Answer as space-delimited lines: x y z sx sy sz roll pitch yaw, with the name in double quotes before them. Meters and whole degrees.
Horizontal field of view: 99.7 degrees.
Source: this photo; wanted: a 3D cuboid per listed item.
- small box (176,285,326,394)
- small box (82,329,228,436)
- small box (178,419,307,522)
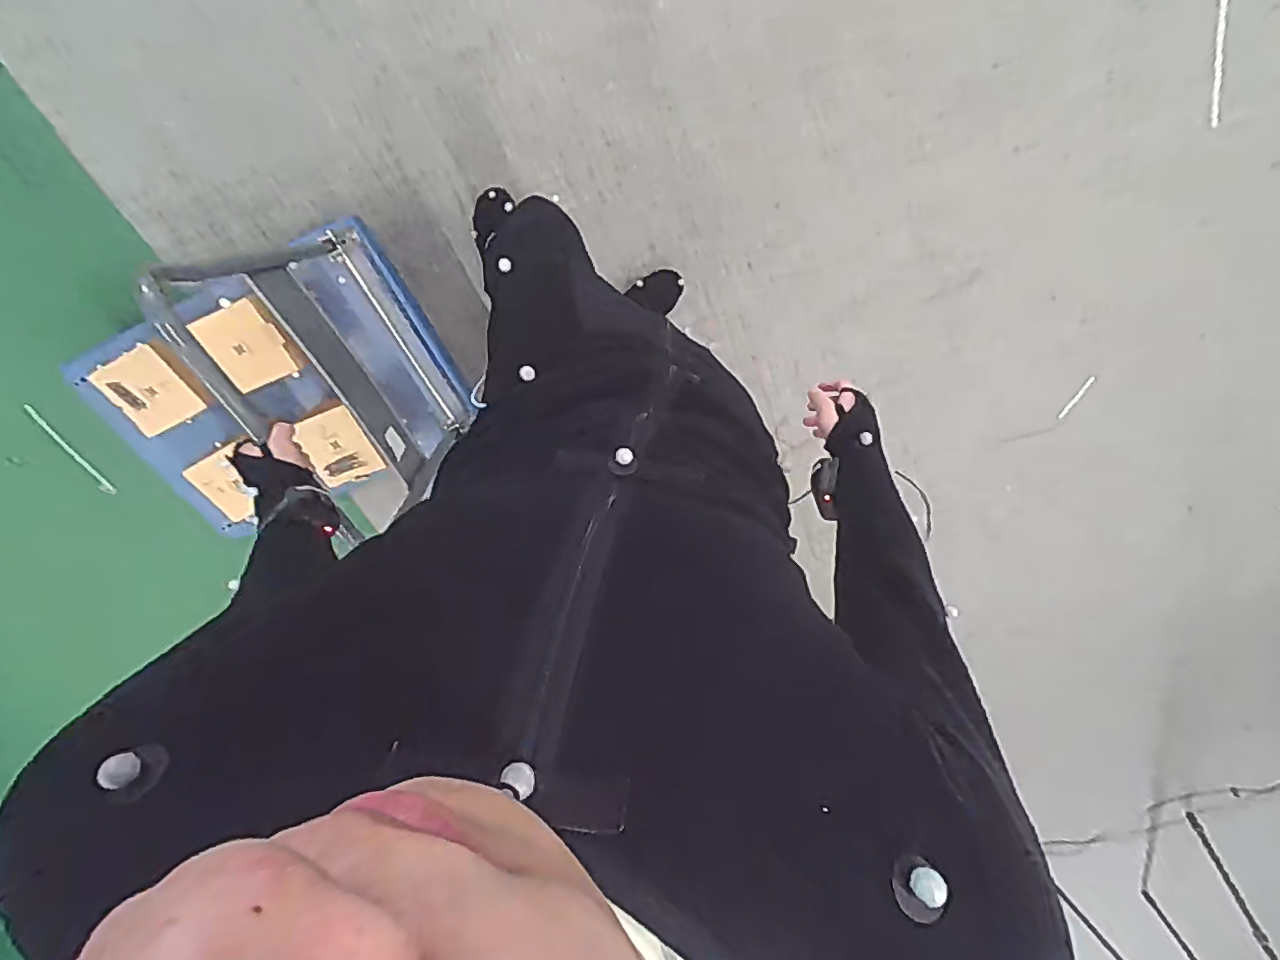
"small box" -0.855 -0.318 1.210 0.179 0.176 0.168 -20 118 7
"small box" -1.085 -0.231 1.243 0.179 0.176 0.168 -24 119 8
"small box" -0.984 -0.030 1.363 0.179 0.176 0.168 -25 117 10
